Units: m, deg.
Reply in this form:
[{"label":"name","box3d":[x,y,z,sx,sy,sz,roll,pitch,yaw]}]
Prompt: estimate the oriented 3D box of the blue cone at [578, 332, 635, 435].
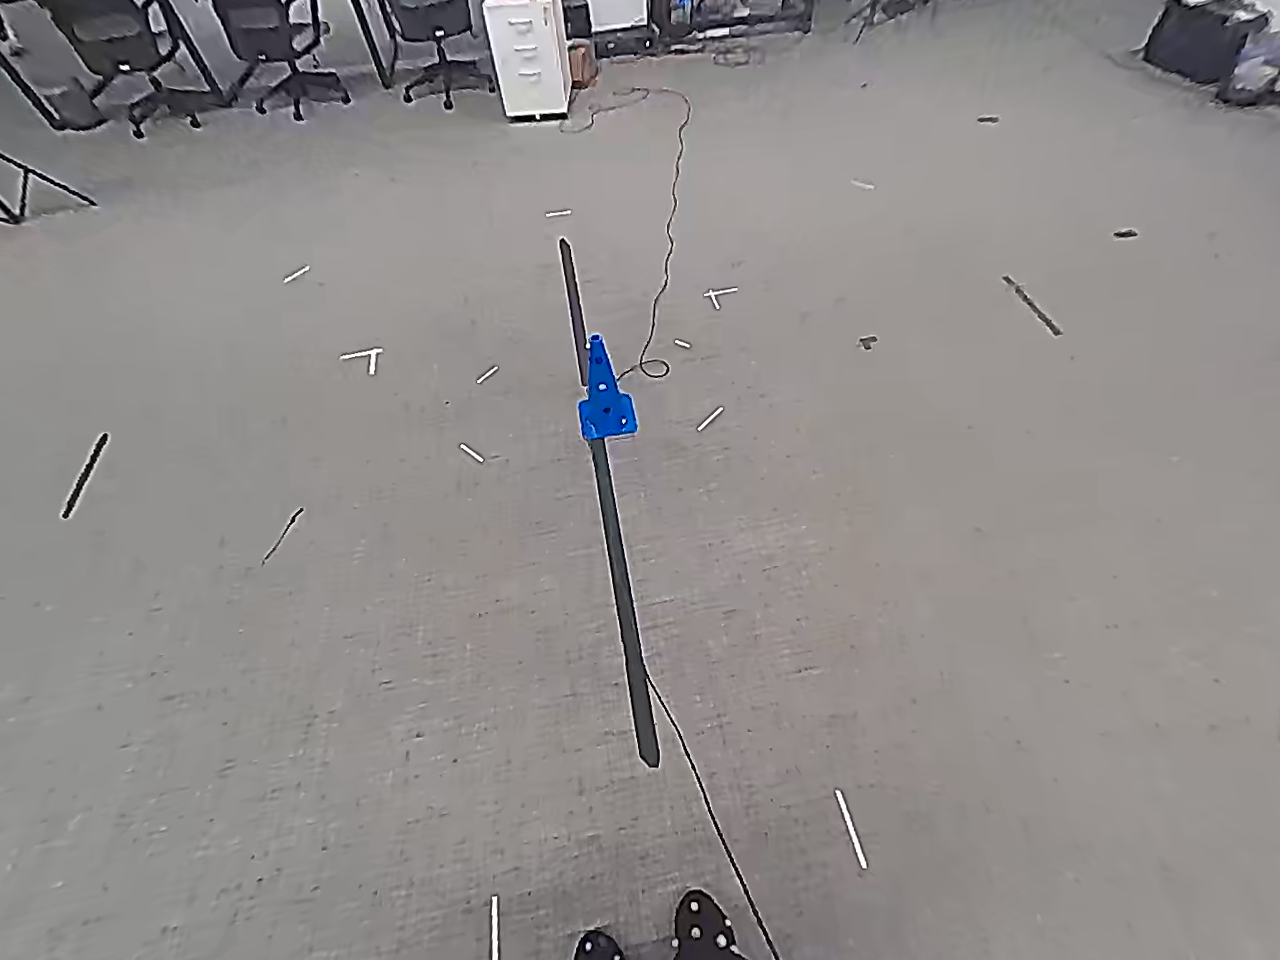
[{"label":"blue cone","box3d":[-0.132,-0.345,1.831,0.193,0.380,0.192,-11,53,-5]}]
